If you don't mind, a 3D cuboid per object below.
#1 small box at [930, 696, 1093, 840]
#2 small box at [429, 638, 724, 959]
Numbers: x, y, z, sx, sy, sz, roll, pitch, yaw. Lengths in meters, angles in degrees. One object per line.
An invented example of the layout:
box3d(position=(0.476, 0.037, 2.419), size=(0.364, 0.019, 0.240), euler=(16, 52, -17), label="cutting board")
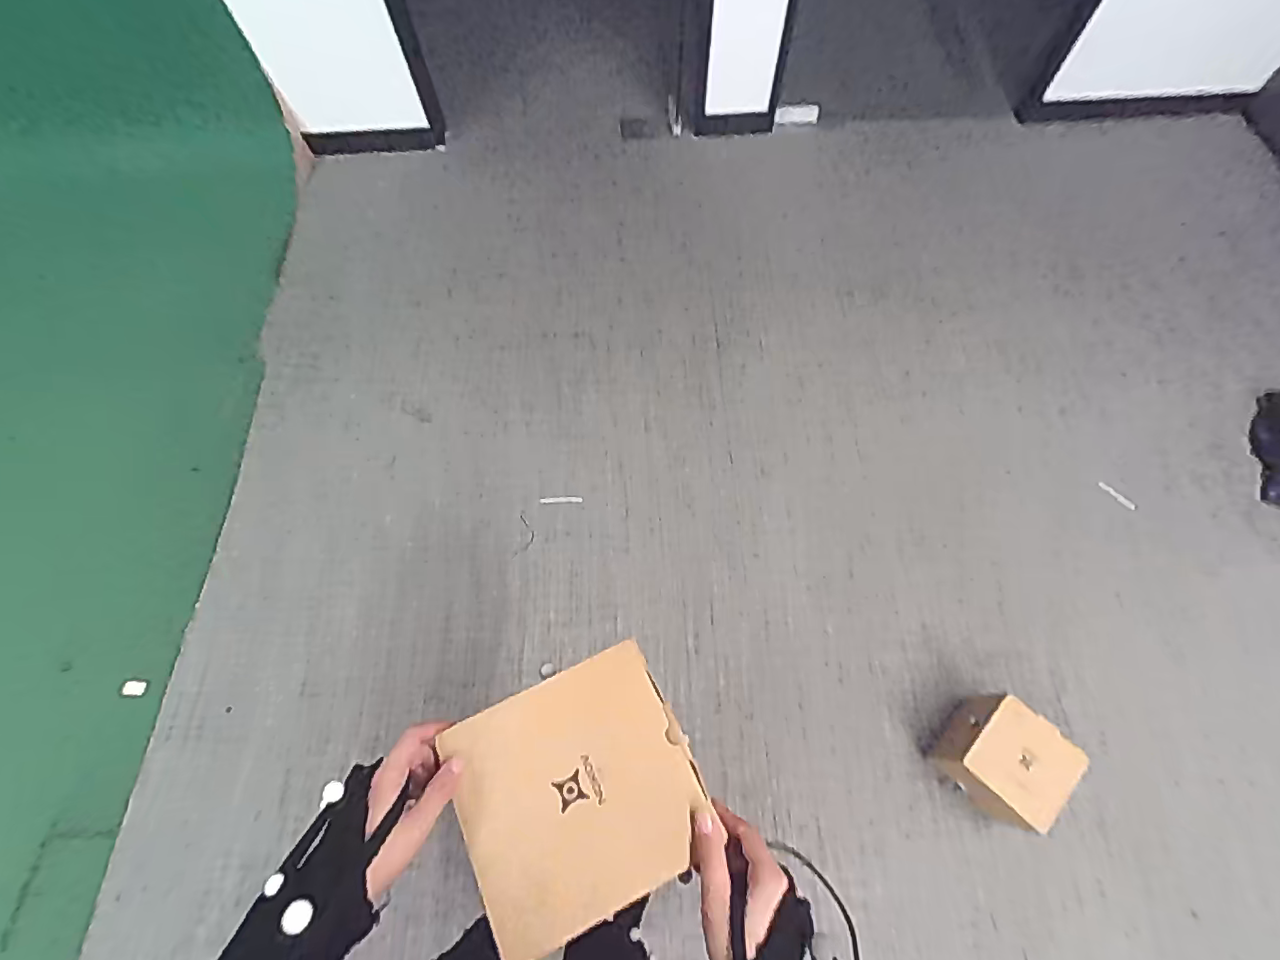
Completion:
box3d(position=(0.705, 0.549, 1.051), size=(0.179, 0.176, 0.168), euler=(-43, 70, -16), label="small box")
box3d(position=(-0.049, 0.262, 0.469), size=(0.179, 0.176, 0.168), euler=(-24, 68, -11), label="small box")
